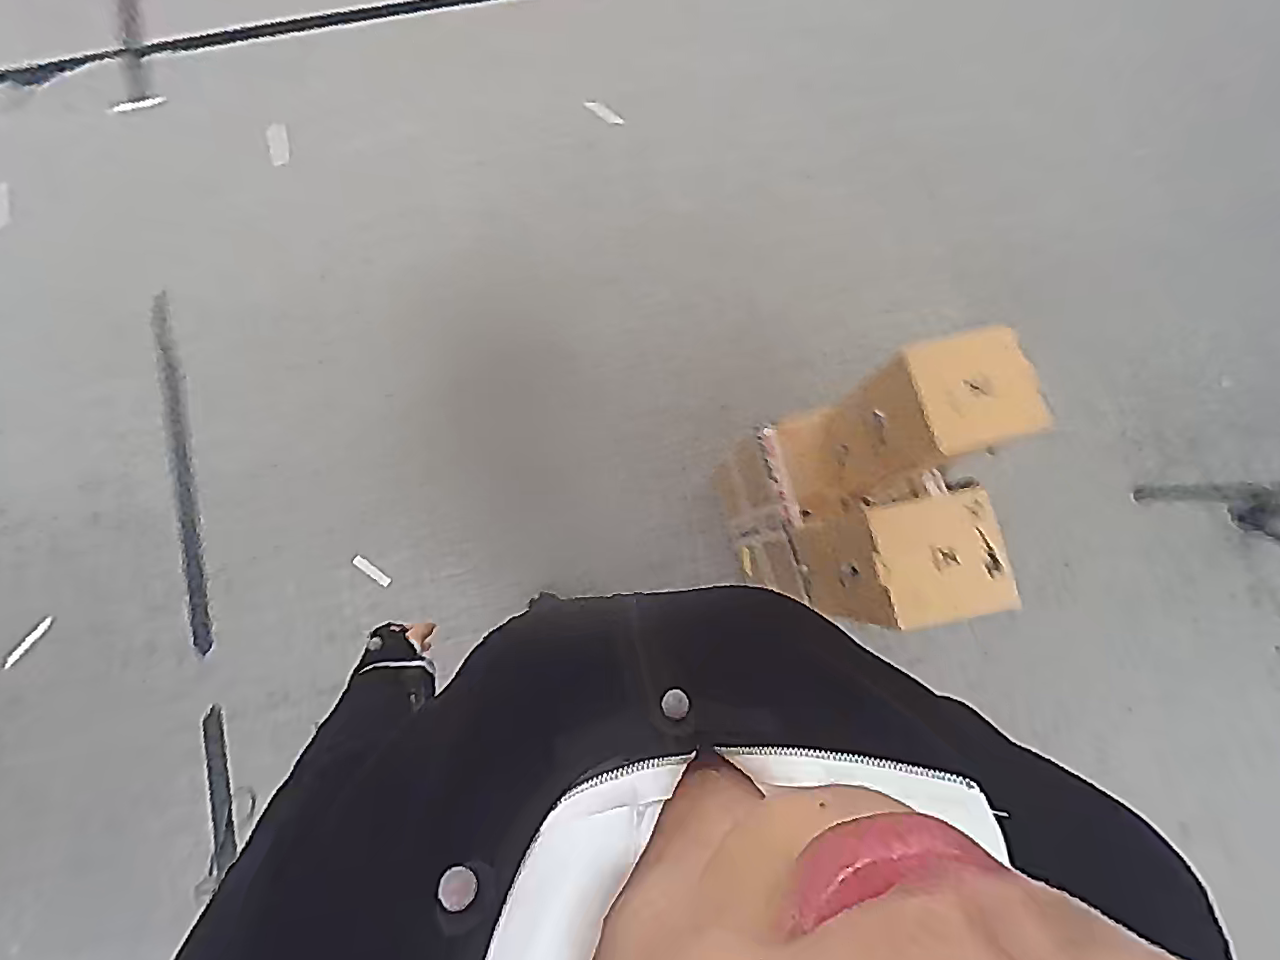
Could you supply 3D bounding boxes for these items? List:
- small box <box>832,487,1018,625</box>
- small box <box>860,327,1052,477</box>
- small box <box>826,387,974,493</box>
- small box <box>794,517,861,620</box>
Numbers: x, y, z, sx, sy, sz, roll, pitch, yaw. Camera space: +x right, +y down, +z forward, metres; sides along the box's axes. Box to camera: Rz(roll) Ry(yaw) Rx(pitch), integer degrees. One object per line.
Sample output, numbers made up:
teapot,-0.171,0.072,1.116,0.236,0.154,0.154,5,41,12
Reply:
small box,0.406,0.116,0.809,0.179,0.176,0.168,-10,81,-3
small box,0.483,-0.114,0.854,0.179,0.176,0.168,-13,78,-3
small box,0.479,-0.084,1.014,0.179,0.176,0.168,-13,79,-4
small box,0.402,0.143,0.971,0.179,0.176,0.168,-14,81,-3
